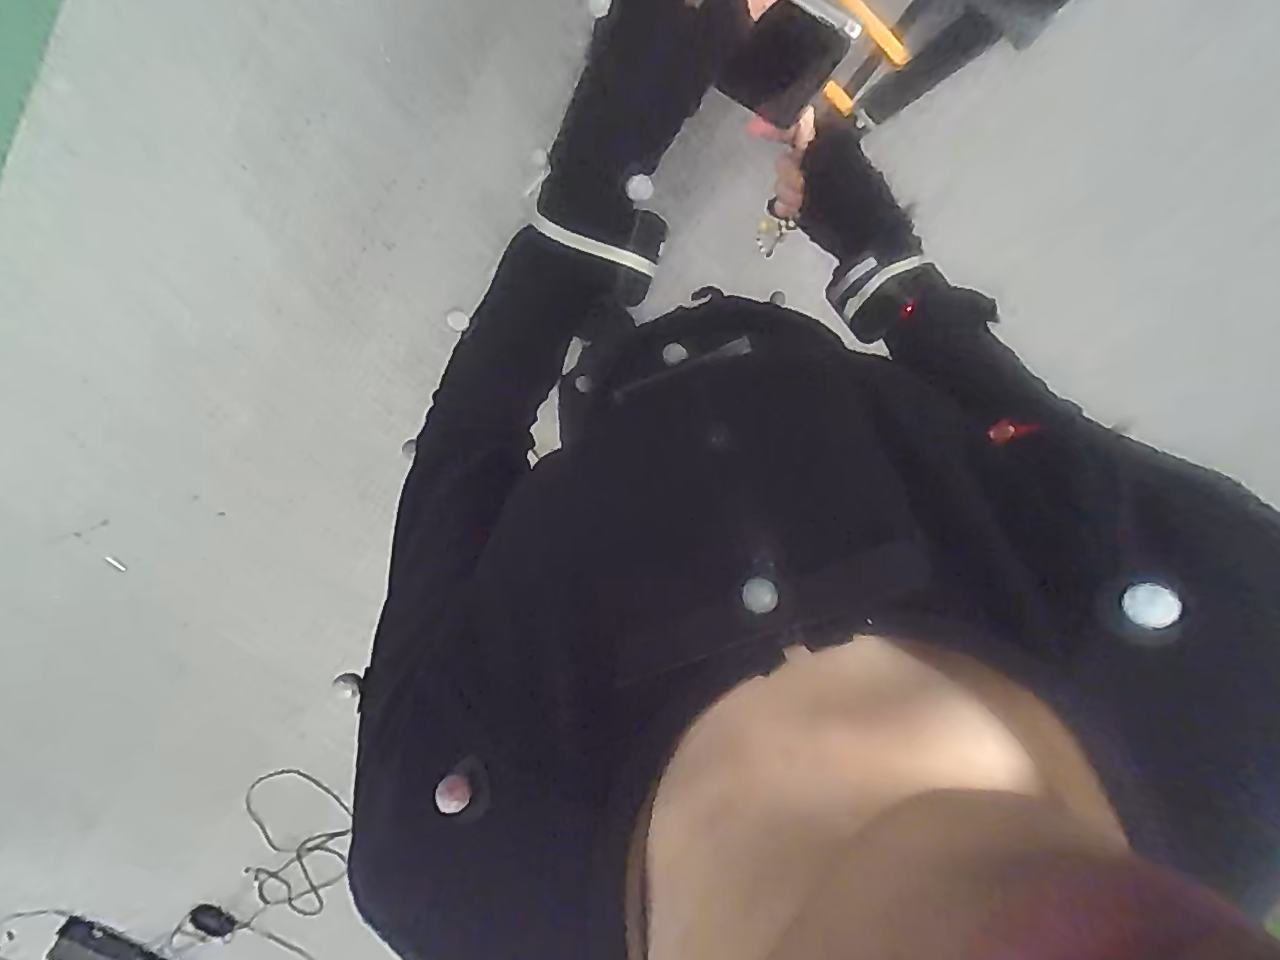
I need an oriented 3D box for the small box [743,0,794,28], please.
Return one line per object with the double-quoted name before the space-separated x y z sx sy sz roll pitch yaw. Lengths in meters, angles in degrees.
"small box" 0.243 -0.961 0.949 0.168 0.176 0.179 41 107 -12
